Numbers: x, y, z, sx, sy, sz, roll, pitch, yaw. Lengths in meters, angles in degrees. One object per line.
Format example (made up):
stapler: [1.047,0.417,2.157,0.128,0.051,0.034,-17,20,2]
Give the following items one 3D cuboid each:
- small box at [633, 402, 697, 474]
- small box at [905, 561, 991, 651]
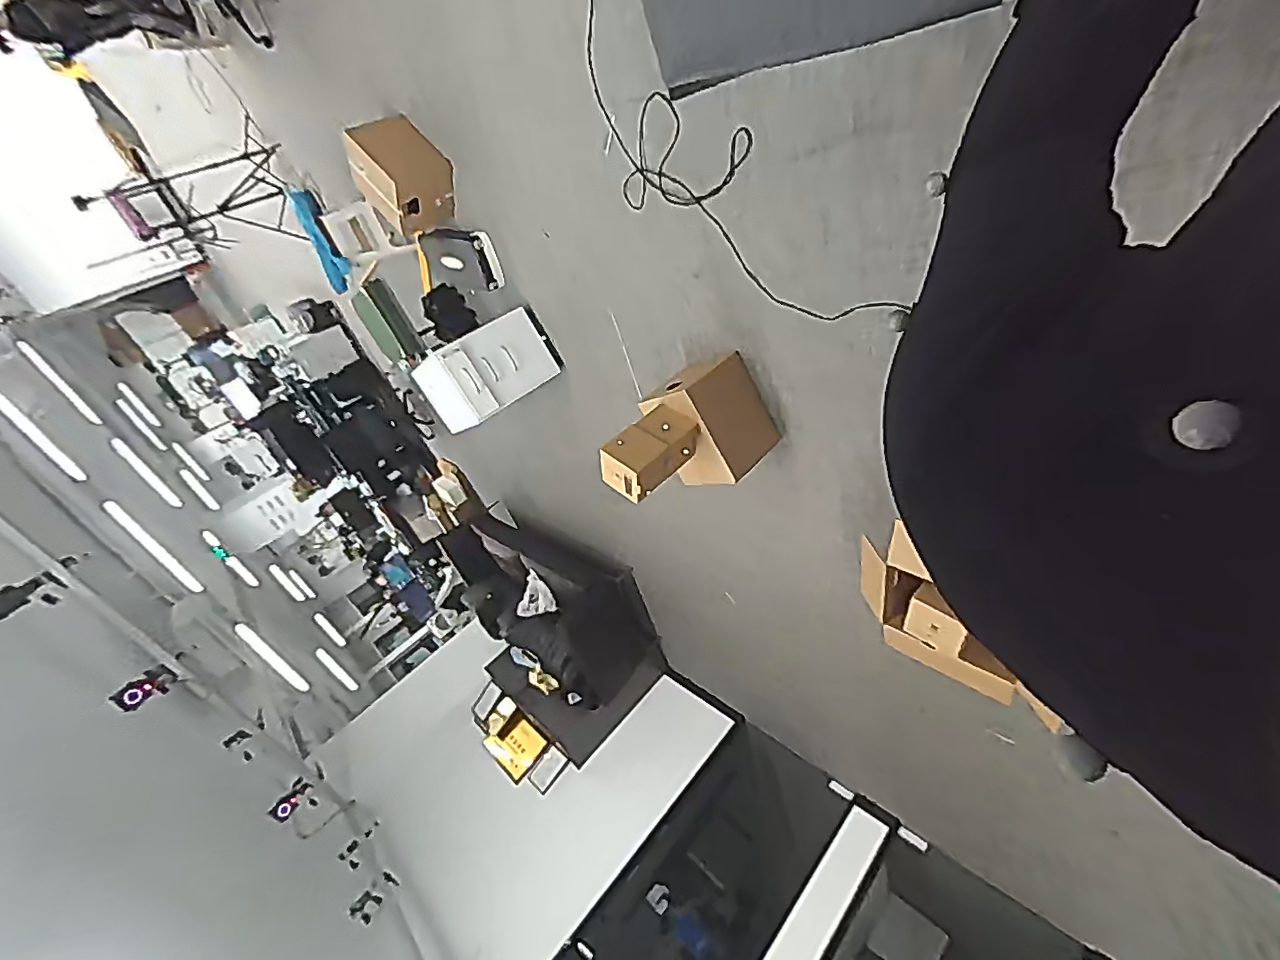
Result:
small box: [0.094,-0.162,1.995,0.179,0.176,0.168,32,147,26]
small box: [0.953,0.382,1.672,0.168,0.176,0.179,30,147,38]
